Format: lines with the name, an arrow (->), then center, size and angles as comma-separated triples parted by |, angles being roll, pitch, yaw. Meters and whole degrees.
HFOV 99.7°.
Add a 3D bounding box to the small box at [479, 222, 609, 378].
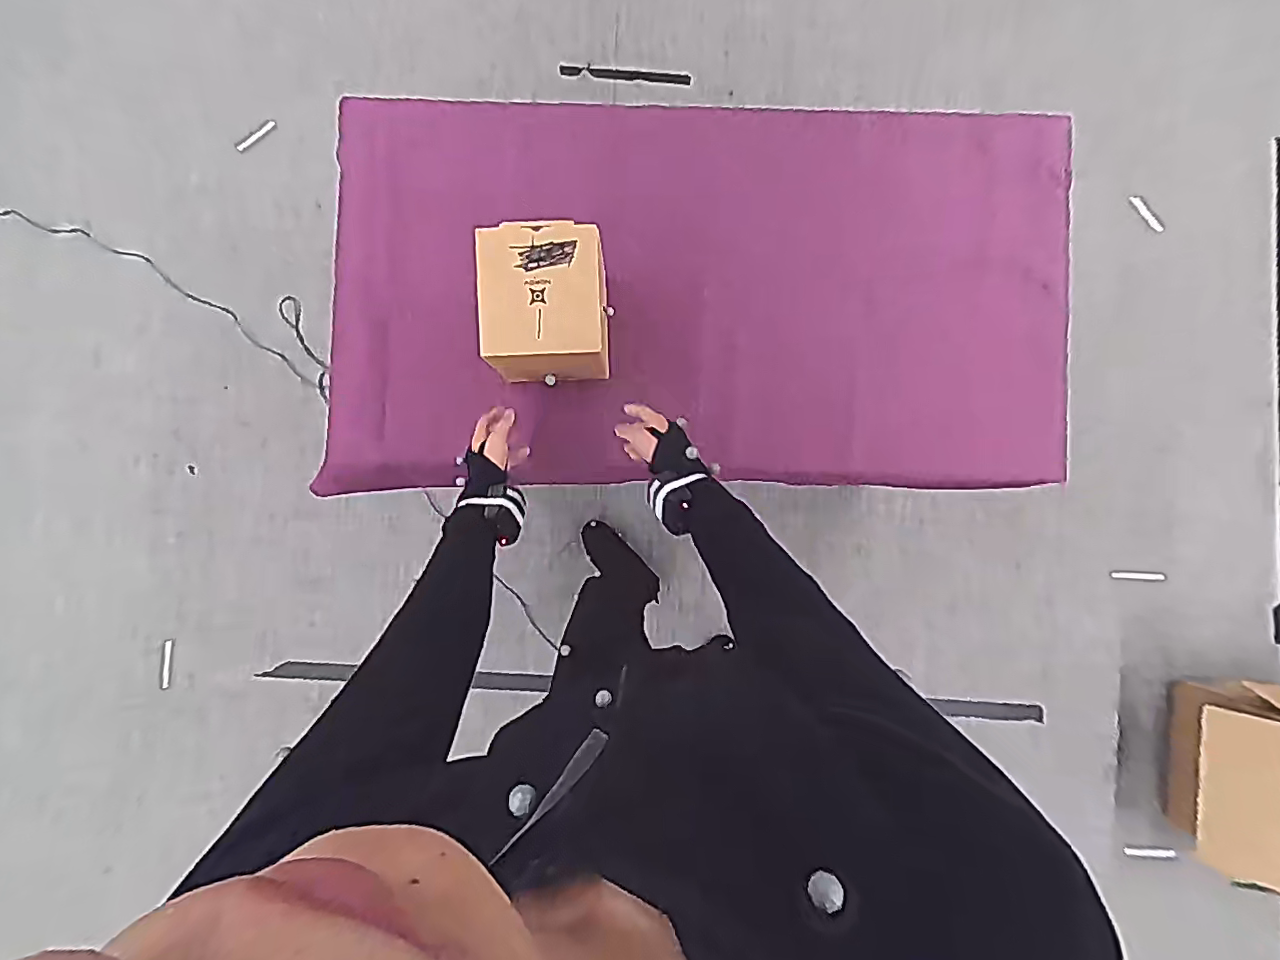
small box -> -0.135, -0.258, 0.806 | 0.168, 0.176, 0.179 | -2, 89, 0
